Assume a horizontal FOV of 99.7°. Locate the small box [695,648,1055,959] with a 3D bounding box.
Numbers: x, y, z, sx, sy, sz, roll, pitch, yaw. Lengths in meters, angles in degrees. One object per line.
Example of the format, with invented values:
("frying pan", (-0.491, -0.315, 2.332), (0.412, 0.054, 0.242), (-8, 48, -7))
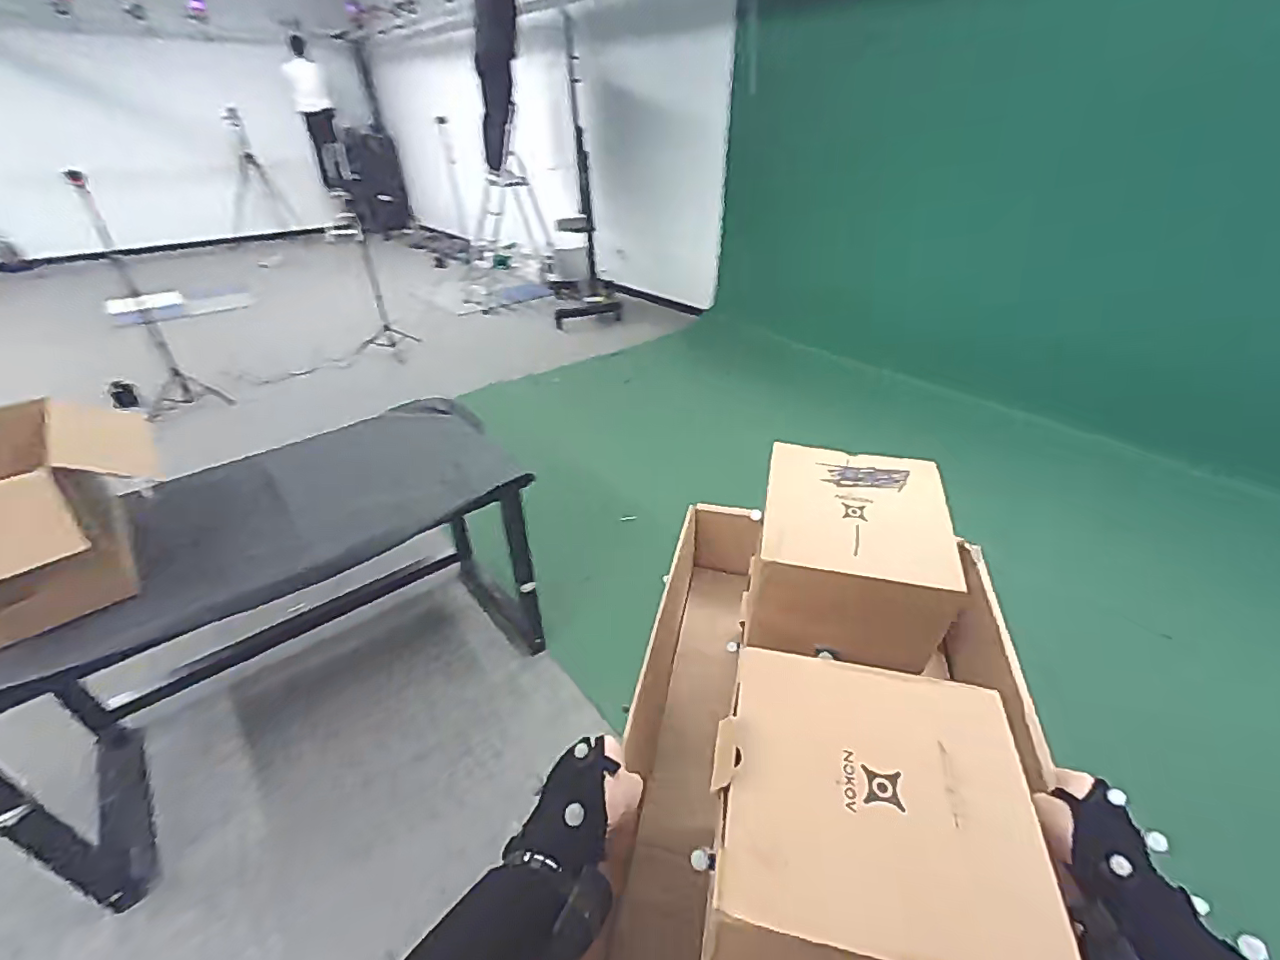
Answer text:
("small box", (0.136, 0.249, 0.383), (0.179, 0.176, 0.168), (8, 40, 10))
